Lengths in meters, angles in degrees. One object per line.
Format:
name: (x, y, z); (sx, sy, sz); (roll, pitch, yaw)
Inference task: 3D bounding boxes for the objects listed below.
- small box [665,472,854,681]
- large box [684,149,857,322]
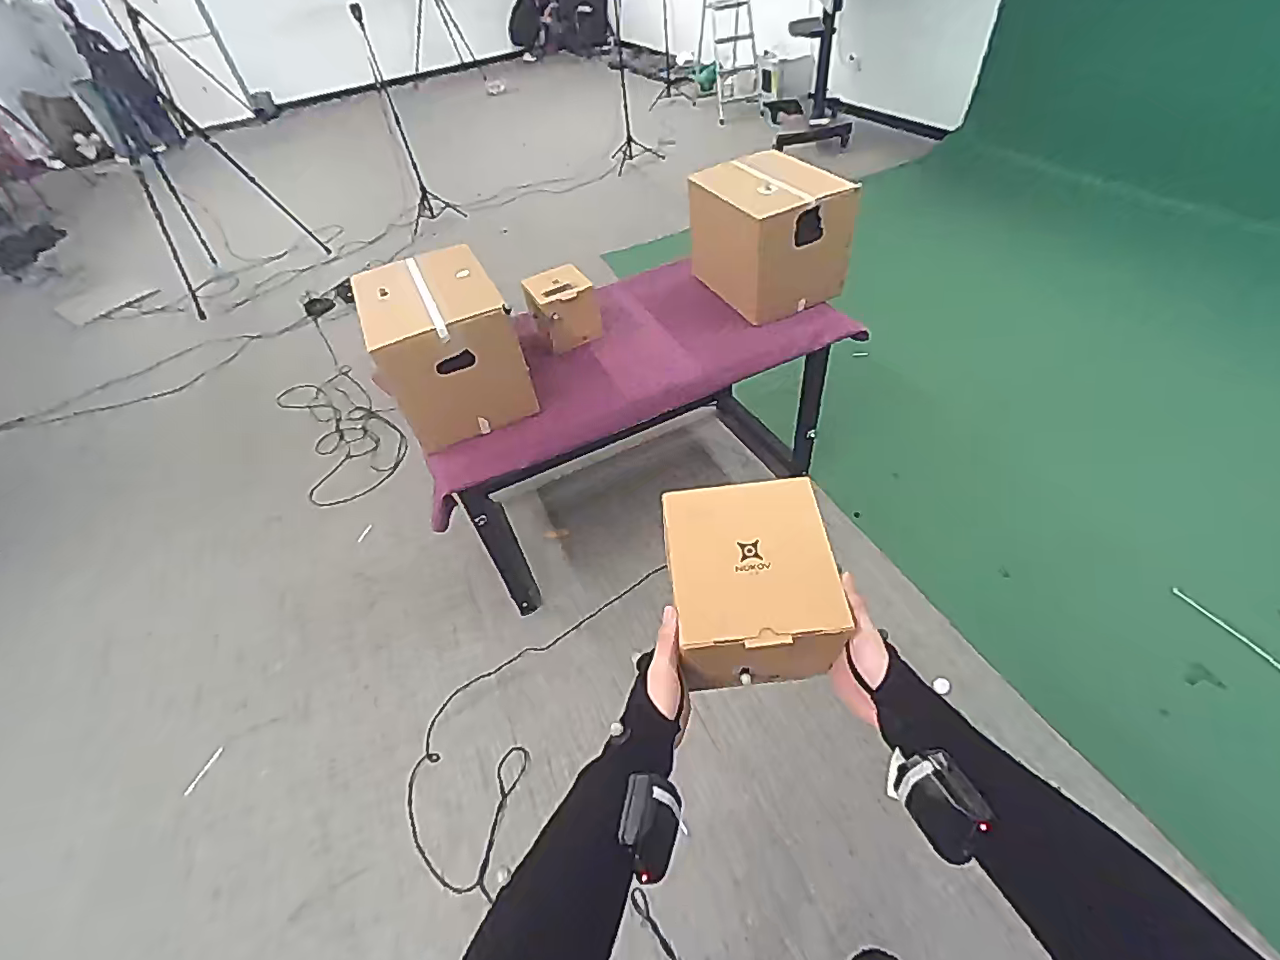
small box: (0.118, 0.114, 0.618); (0.168, 0.176, 0.179); (-7, 57, 0)
large box: (0.363, -0.735, 1.614); (0.320, 0.320, 0.408); (-24, 50, -11)
